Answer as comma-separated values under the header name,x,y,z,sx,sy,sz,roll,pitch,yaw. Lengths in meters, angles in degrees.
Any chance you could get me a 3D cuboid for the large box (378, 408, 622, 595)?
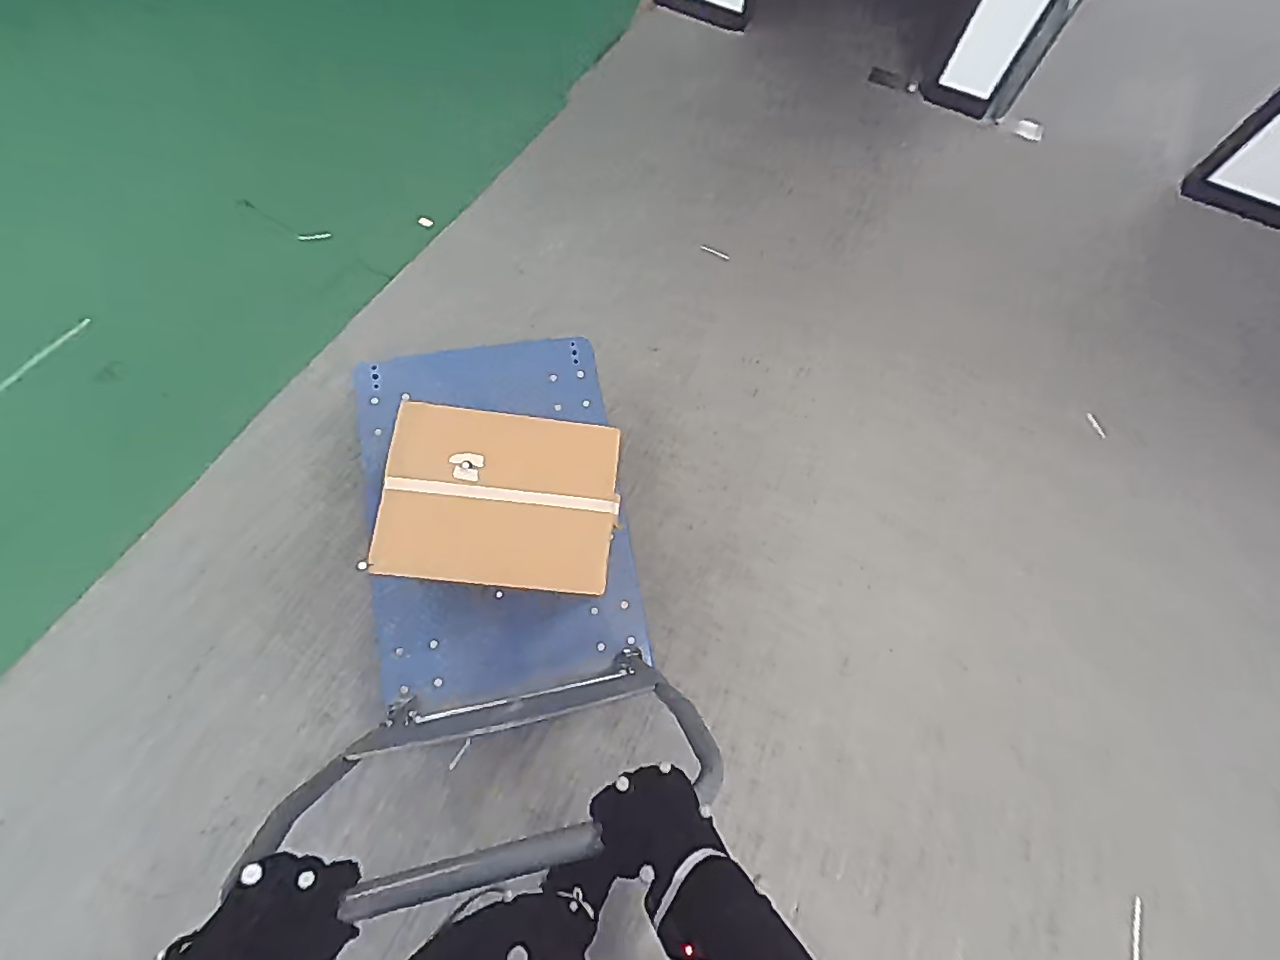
name,x,y,z,sx,sy,sz,roll,pitch,yaw
large box,-0.251,0.065,1.108,0.408,0.320,0.320,6,76,-4
